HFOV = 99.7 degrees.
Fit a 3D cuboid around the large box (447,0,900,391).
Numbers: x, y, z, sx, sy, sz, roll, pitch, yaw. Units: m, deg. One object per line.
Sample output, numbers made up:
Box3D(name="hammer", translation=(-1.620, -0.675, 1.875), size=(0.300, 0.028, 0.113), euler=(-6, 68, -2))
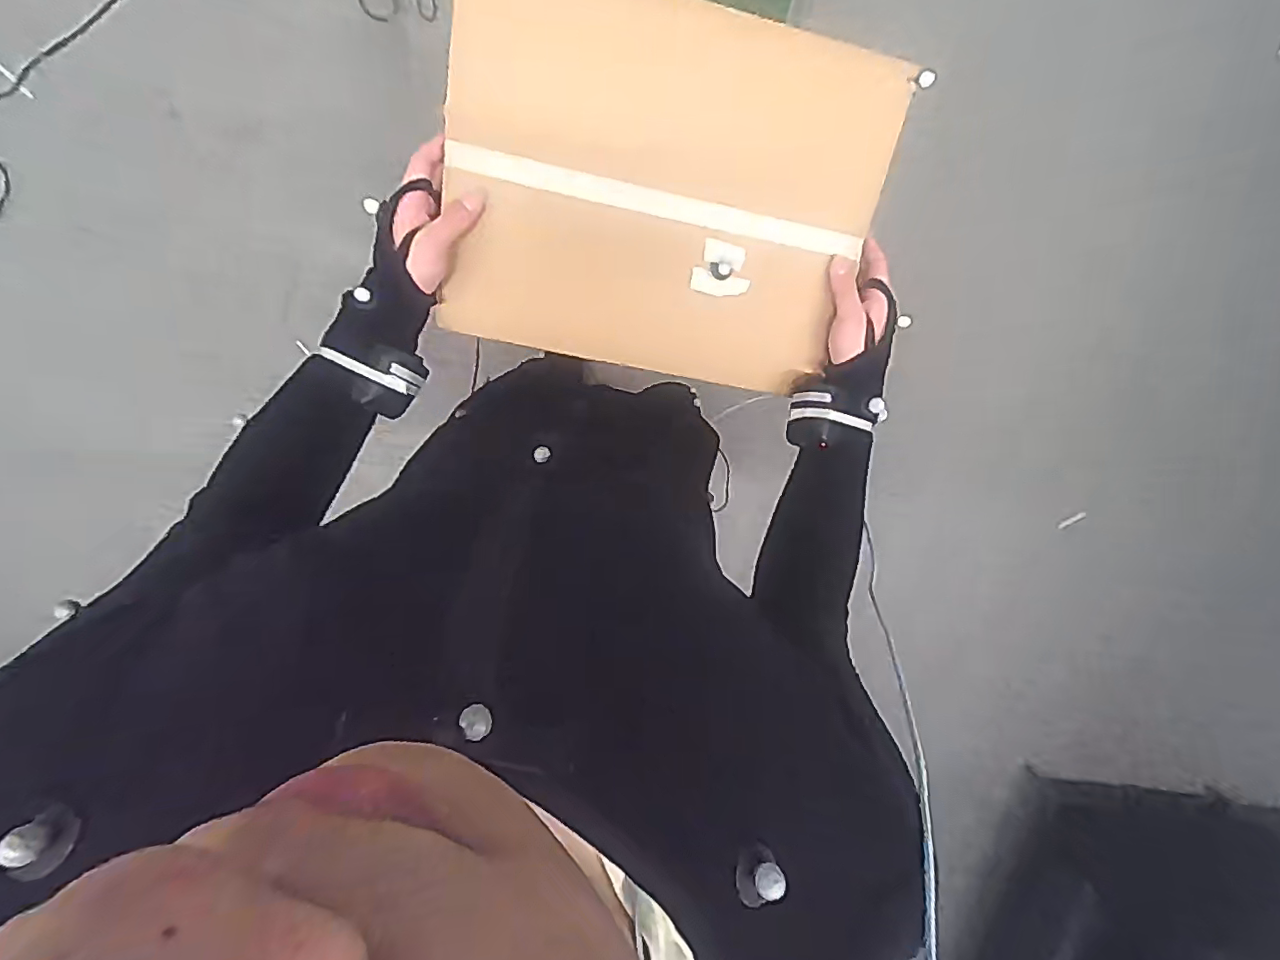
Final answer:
Box3D(name="large box", translation=(0.008, -0.319, 0.662), size=(0.408, 0.320, 0.320), euler=(9, 112, -9))
